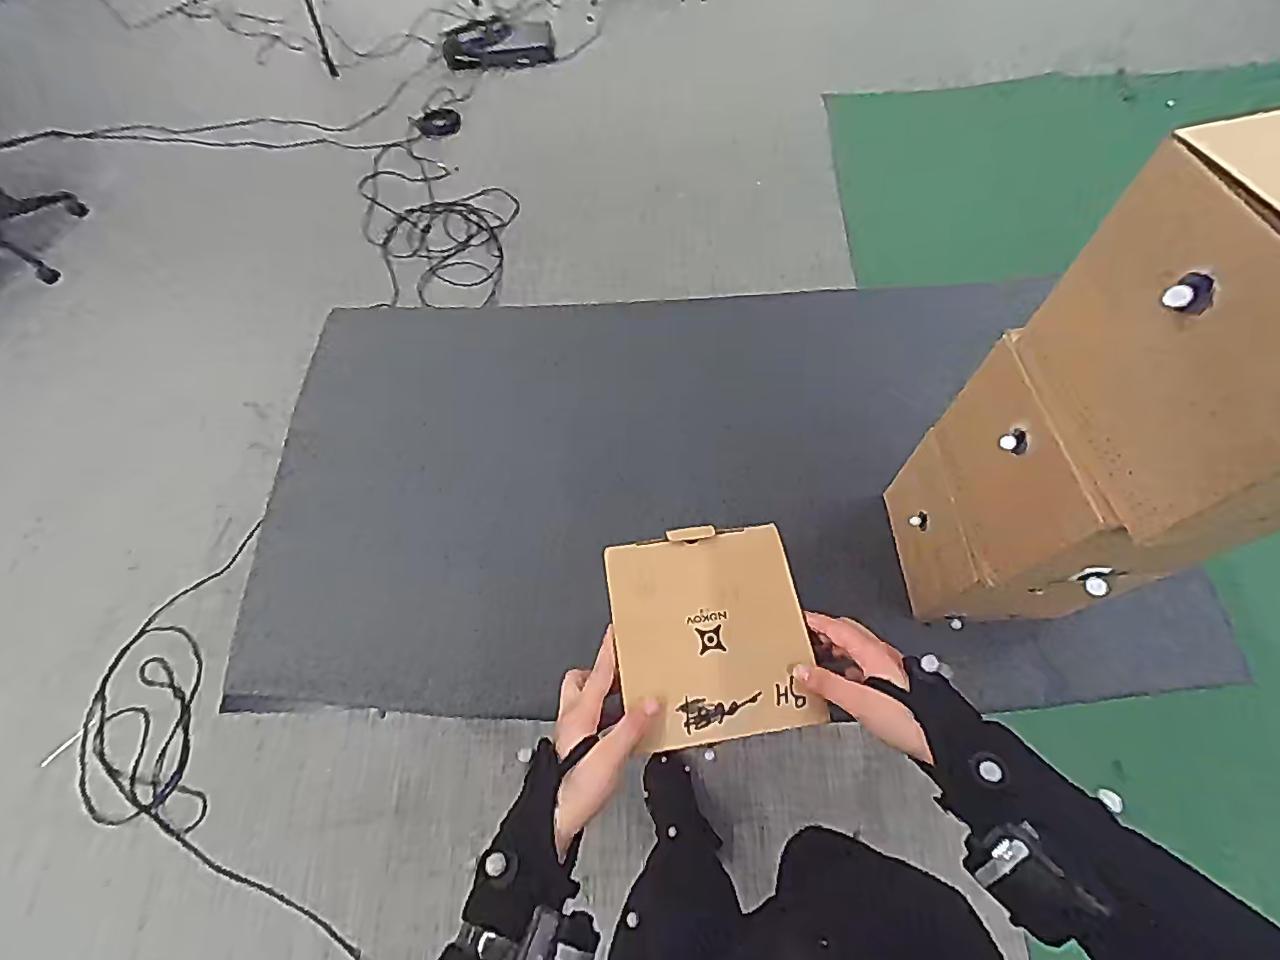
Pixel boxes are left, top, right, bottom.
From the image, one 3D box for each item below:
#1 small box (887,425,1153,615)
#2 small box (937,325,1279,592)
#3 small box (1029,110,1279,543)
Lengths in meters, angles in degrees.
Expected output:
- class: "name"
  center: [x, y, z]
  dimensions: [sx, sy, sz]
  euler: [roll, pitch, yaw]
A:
- class: "small box"
  center: [0.401, 0.050, 0.607]
  dimensions: [0.168, 0.176, 0.179]
  euler: [-3, 63, 4]
- class: "small box"
  center: [0.387, -0.017, 0.460]
  dimensions: [0.168, 0.176, 0.179]
  euler: [-7, 64, 3]
- class: "small box"
  center: [0.375, -0.083, 0.309]
  dimensions: [0.168, 0.176, 0.179]
  euler: [-10, 63, 2]
